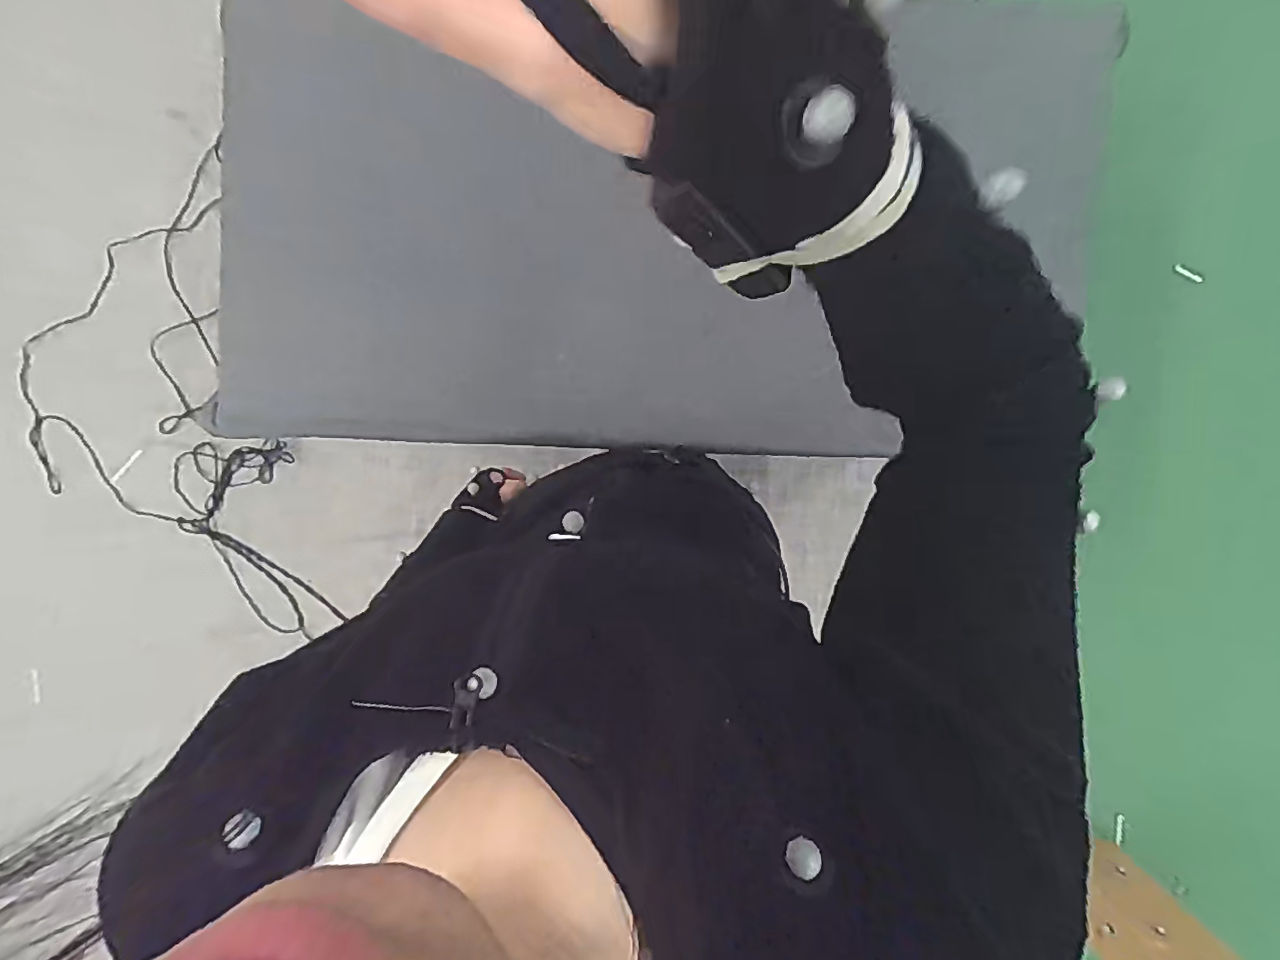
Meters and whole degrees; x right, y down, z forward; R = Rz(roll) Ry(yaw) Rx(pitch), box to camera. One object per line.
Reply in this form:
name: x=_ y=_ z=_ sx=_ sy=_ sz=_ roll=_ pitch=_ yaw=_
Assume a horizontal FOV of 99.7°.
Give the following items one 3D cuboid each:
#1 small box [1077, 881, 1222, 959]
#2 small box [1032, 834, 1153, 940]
small box: x=1.186 y=1.084 z=1.268 sx=0.179 sy=0.176 sz=0.168 roll=2 pitch=94 yaw=2
small box: x=1.188 y=1.073 z=1.430 sx=0.179 sy=0.176 sz=0.168 roll=3 pitch=93 yaw=2
